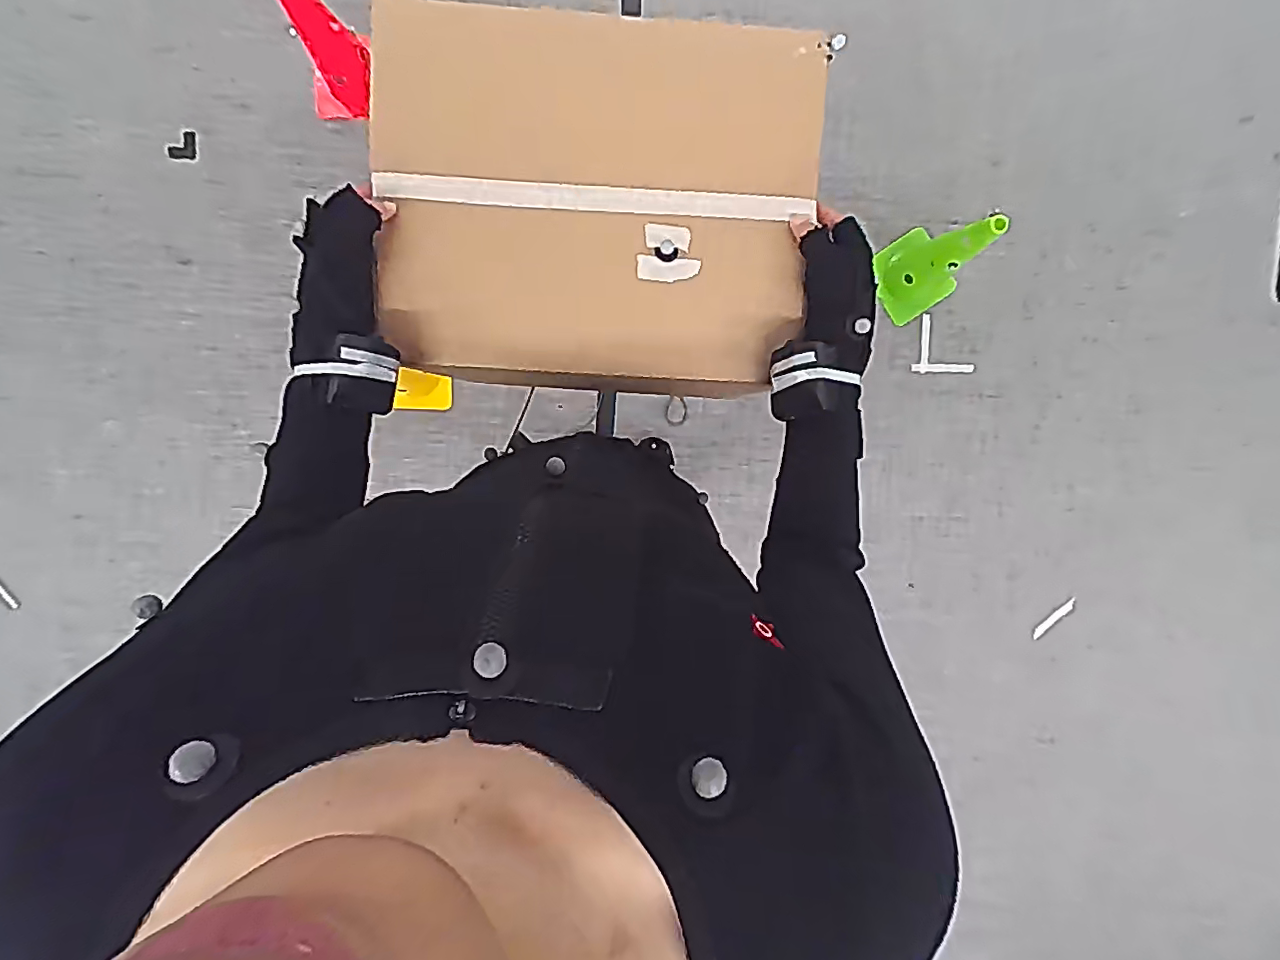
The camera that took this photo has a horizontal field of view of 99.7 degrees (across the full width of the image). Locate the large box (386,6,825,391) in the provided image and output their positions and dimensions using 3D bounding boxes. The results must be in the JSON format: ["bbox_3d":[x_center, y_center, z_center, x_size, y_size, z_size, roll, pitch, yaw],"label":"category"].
[{"bbox_3d":[-0.041,-0.277,0.649,0.408,0.320,0.320,3,97,-2],"label":"large box"}]

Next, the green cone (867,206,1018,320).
[{"bbox_3d":[0.742,-0.546,1.281,0.202,0.368,0.200,-35,95,0],"label":"green cone"}]

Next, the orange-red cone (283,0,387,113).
[{"bbox_3d":[-0.718,-1.023,1.206,0.198,0.360,0.199,1,96,-1],"label":"orange-red cone"}]
